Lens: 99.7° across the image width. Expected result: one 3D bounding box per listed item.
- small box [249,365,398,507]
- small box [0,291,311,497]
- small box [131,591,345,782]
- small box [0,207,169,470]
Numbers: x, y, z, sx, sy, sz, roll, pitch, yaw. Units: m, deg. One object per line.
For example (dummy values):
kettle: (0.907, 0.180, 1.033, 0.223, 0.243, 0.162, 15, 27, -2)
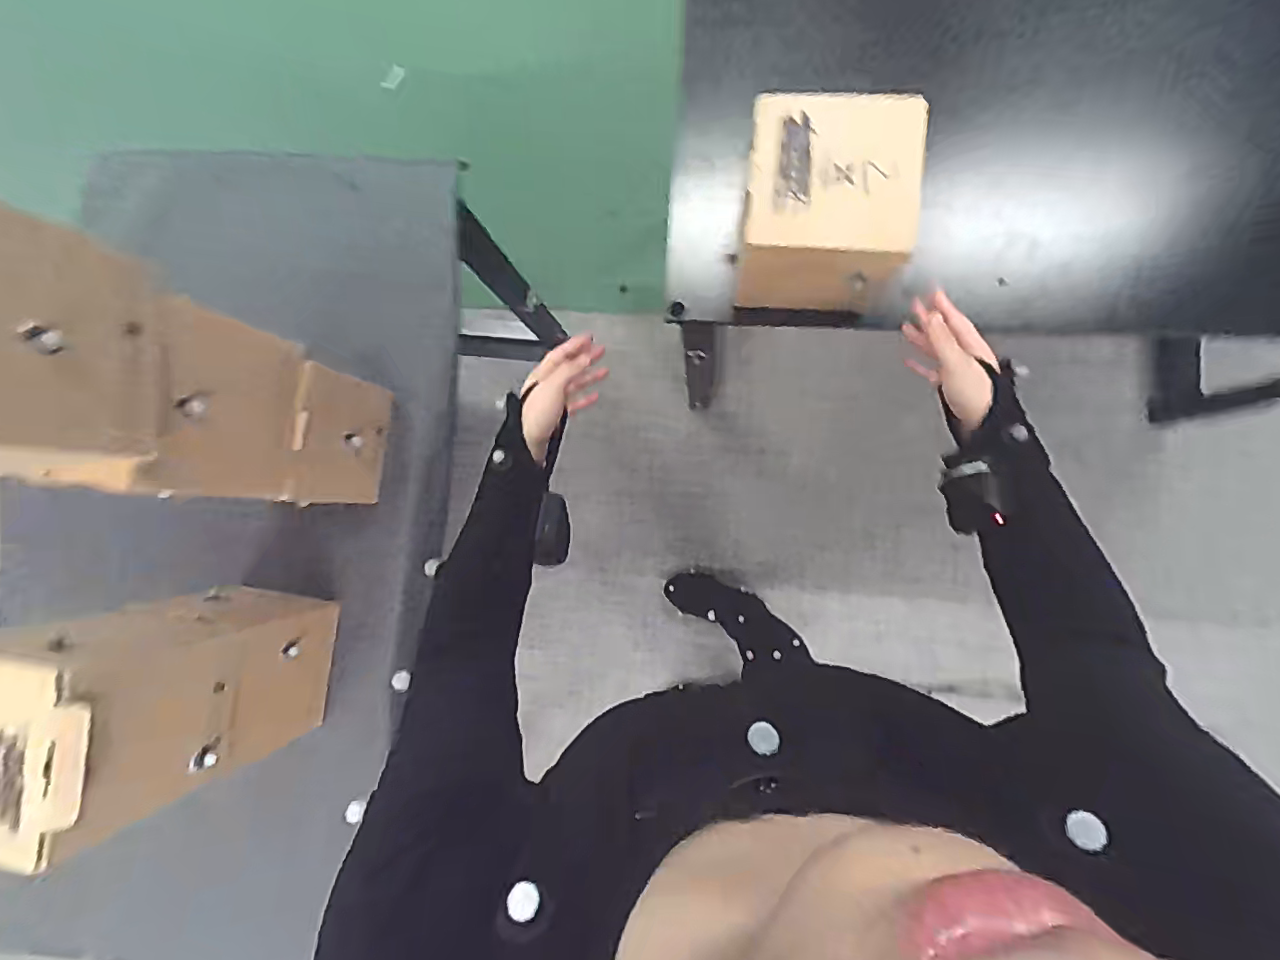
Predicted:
small box: (-0.447, -0.060, 0.707, 0.179, 0.176, 0.168, 8, 88, 8)
small box: (-0.470, -0.079, 0.547, 0.168, 0.176, 0.179, 6, 88, 9)
small box: (-0.516, 0.248, 0.699, 0.168, 0.176, 0.179, 7, 88, 9)
small box: (-0.485, -0.096, 0.383, 0.179, 0.176, 0.168, -2, 86, 8)
